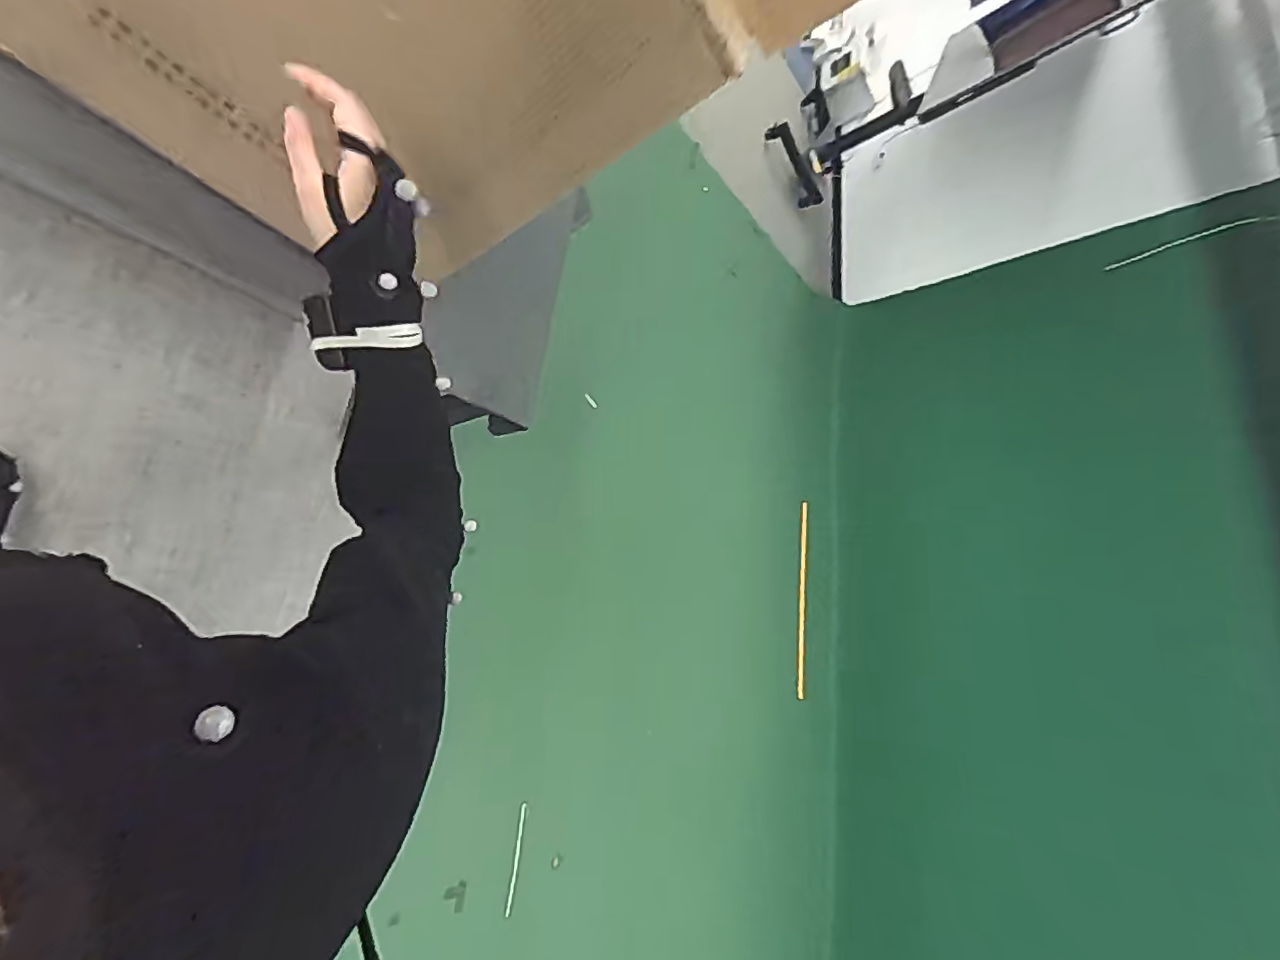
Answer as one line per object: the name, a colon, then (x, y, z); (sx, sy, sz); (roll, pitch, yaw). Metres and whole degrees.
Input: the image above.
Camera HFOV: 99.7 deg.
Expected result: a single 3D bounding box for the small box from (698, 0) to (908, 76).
small box: (0.121, -0.465, 0.400); (0.168, 0.176, 0.179); (22, 71, -50)
